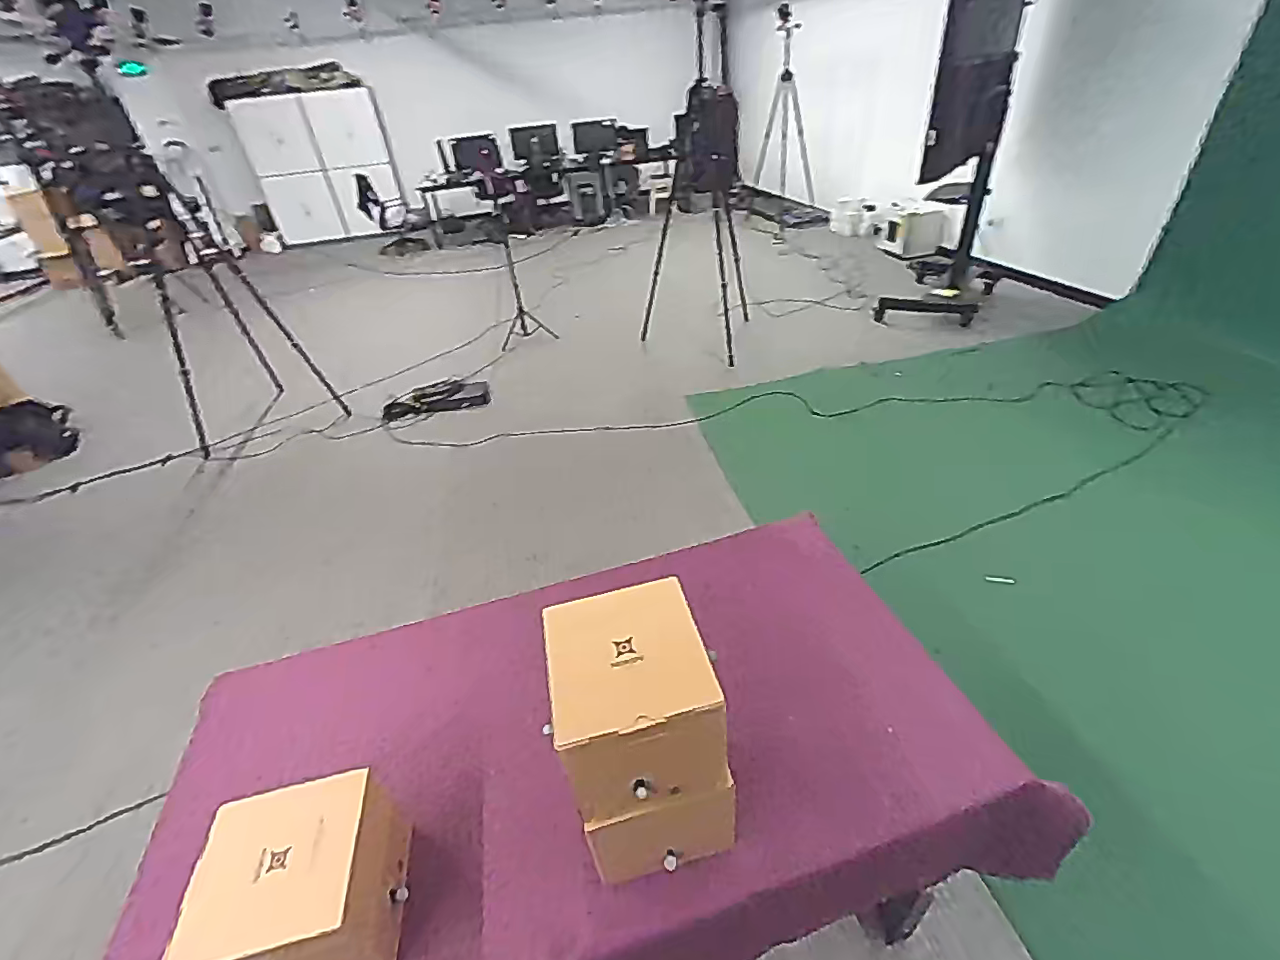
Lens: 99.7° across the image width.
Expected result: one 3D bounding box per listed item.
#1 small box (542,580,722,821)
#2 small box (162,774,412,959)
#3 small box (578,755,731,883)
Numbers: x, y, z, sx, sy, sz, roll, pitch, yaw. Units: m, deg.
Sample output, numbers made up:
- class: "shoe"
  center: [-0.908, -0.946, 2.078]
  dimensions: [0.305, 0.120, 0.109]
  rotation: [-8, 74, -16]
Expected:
- class: "small box"
  center: [-0.012, 0.250, 0.625]
  dimensions: [0.168, 0.176, 0.179]
  rotation: [-13, 37, -8]
- class: "small box"
  center: [-0.394, 0.488, 0.638]
  dimensions: [0.179, 0.176, 0.168]
  rotation: [-11, 37, -8]
- class: "small box"
  center: [0.008, 0.387, 0.712]
  dimensions: [0.179, 0.176, 0.168]
  rotation: [-12, 36, -9]
